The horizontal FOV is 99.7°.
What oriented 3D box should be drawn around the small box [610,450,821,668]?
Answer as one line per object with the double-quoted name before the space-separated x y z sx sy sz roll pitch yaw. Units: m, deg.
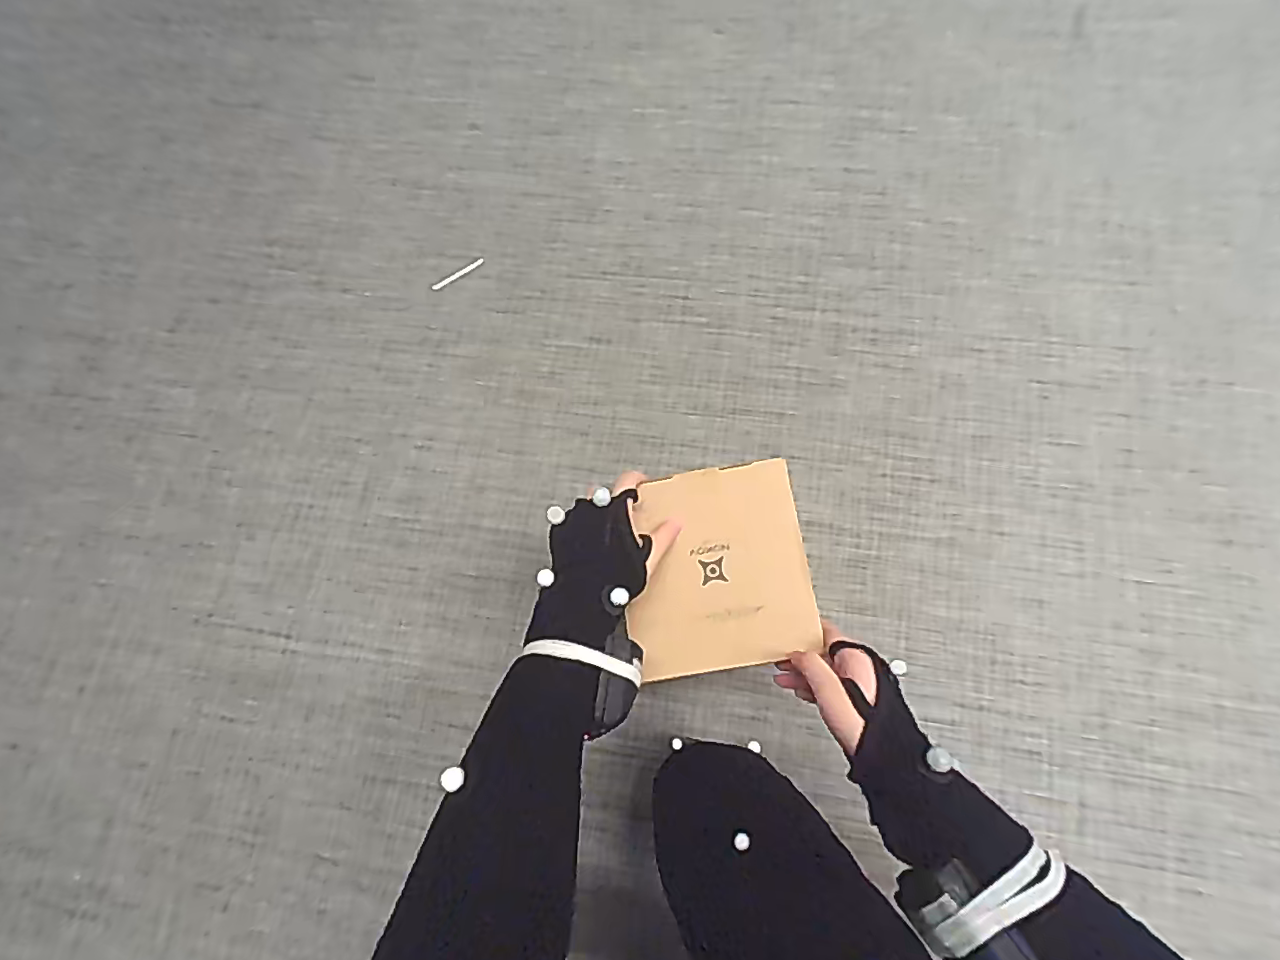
"small box" 0.068 0.084 0.559 0.168 0.176 0.179 -10 78 3
